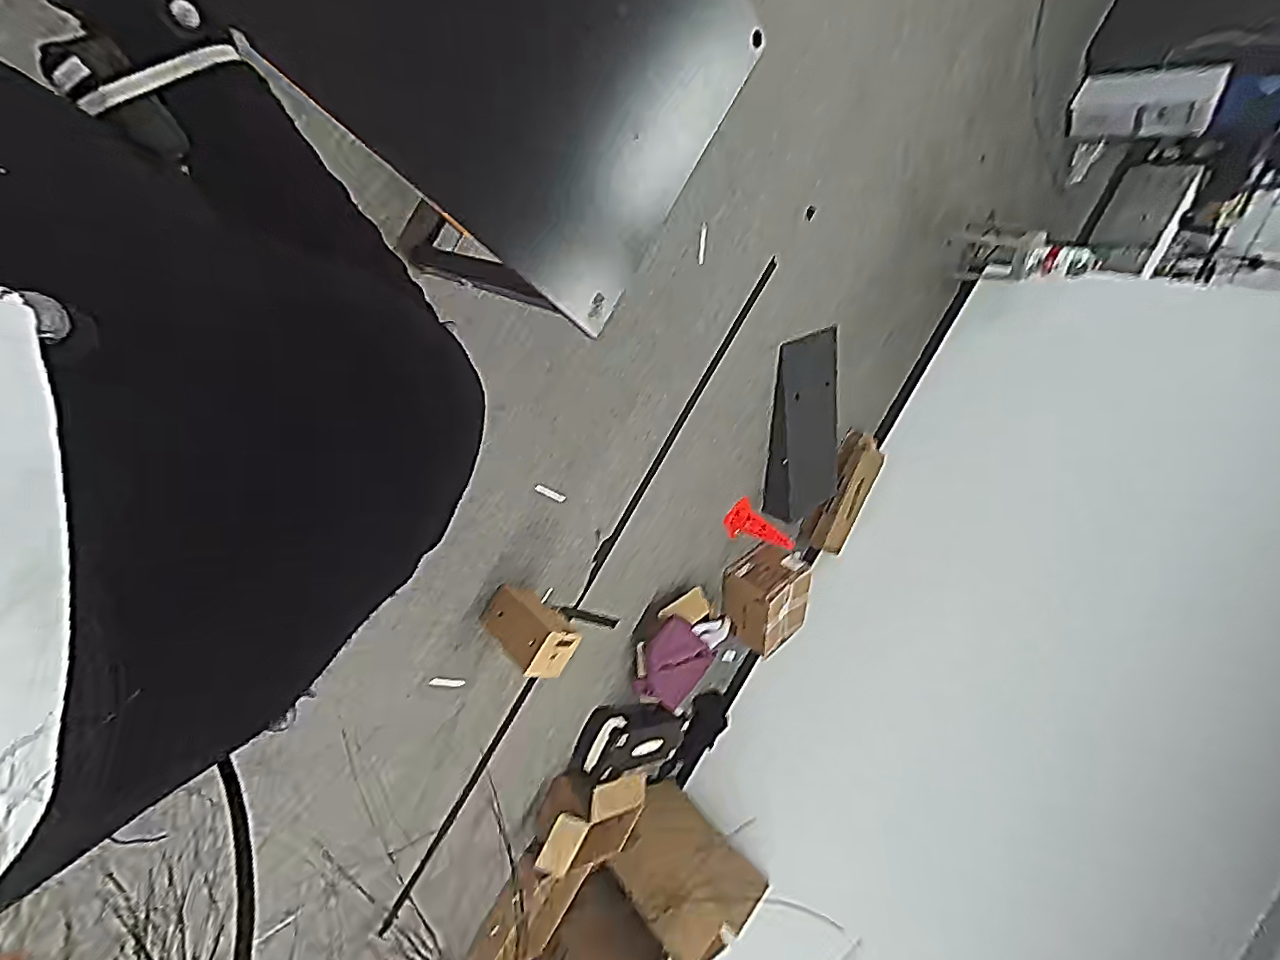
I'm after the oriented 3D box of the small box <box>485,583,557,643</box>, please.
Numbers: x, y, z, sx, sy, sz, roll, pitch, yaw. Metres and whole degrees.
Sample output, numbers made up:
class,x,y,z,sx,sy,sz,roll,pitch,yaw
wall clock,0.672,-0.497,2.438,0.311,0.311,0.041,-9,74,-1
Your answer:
class,x,y,z,sx,sy,sz,roll,pitch,yaw
small box,-0.442,0.502,2.007,0.179,0.176,0.168,34,87,-49

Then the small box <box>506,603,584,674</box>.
class,x,y,z,sx,sy,sz,roll,pitch,yaw
small box,-0.336,0.551,1.888,0.168,0.176,0.179,31,90,-49
